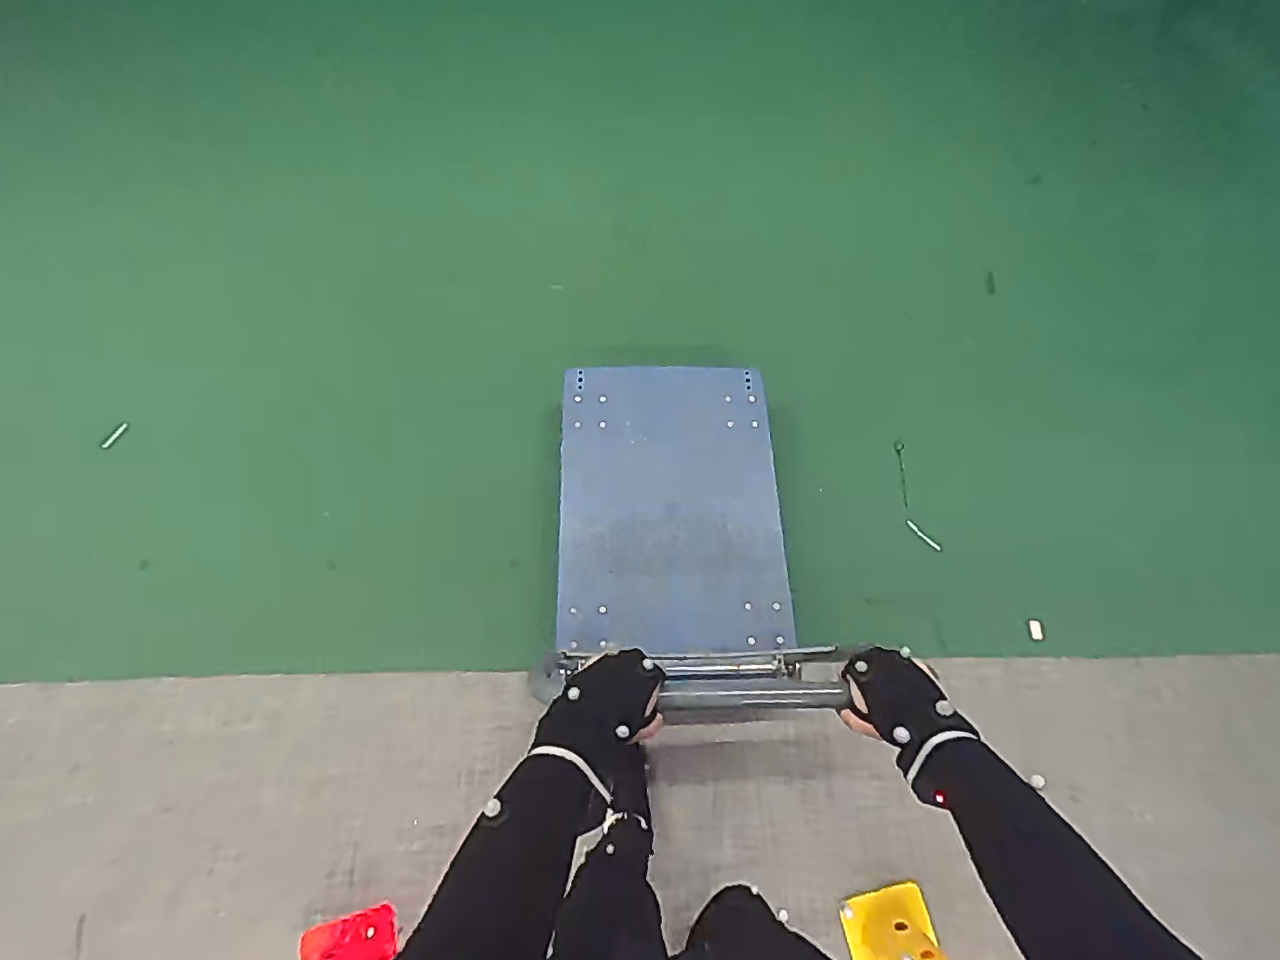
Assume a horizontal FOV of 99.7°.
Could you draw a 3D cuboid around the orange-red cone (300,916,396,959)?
[{"bbox_3d":[-0.610,0.997,0.984,0.199,0.360,0.198,-15,68,-7],"label":"orange-red cone"}]
